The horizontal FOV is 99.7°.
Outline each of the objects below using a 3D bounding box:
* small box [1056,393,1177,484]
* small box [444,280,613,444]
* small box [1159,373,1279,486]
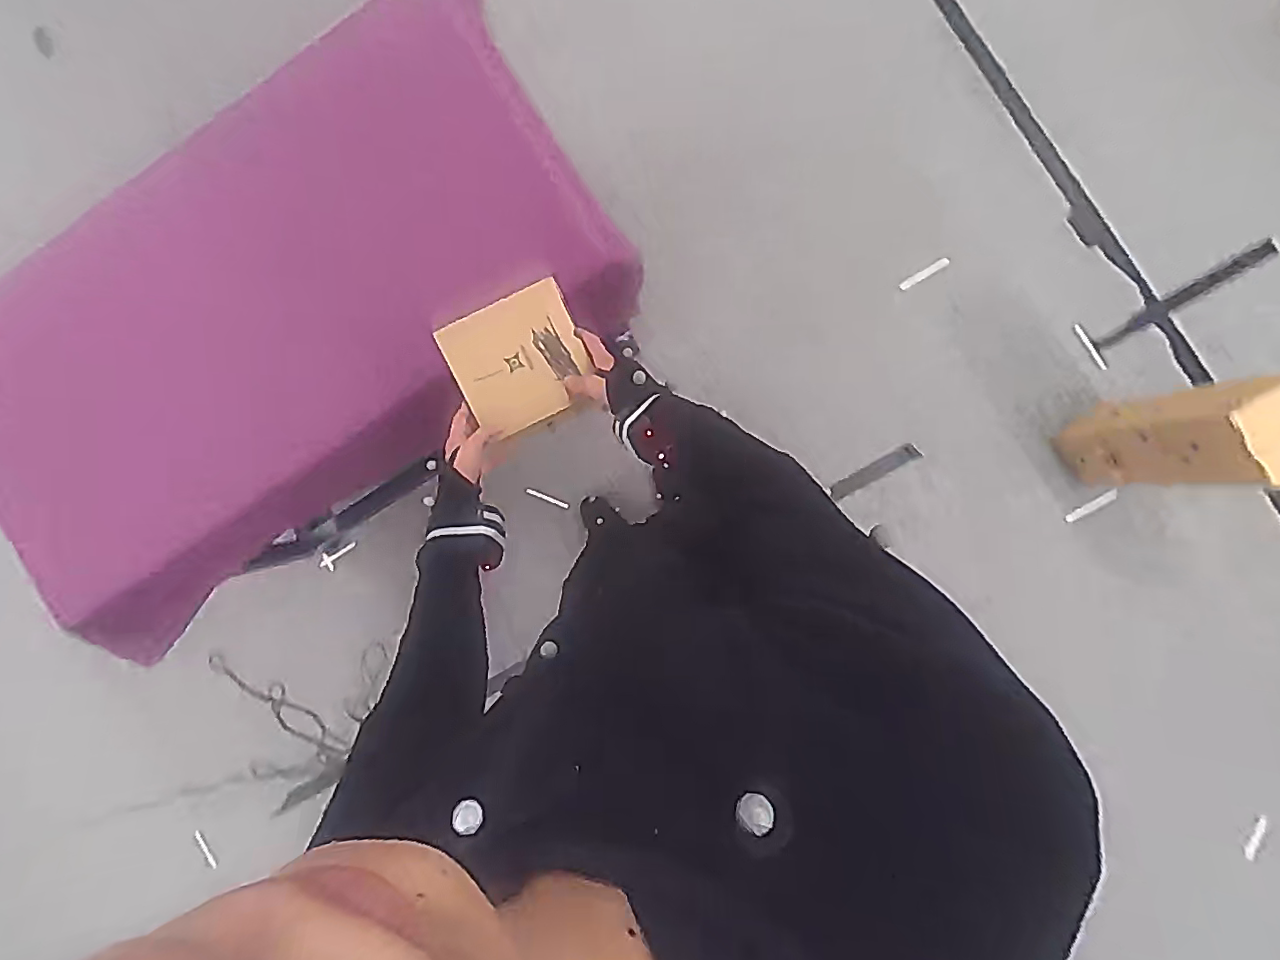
[{"bbox_3d":[1.262,-0.107,1.421,0.179,0.176,0.168,-35,88,6],"label":"small box"},{"bbox_3d":[-0.152,-0.162,0.795,0.179,0.176,0.168,-25,94,0],"label":"small box"},{"bbox_3d":[1.235,-0.105,1.094,0.179,0.176,0.168,-31,90,6],"label":"small box"}]
